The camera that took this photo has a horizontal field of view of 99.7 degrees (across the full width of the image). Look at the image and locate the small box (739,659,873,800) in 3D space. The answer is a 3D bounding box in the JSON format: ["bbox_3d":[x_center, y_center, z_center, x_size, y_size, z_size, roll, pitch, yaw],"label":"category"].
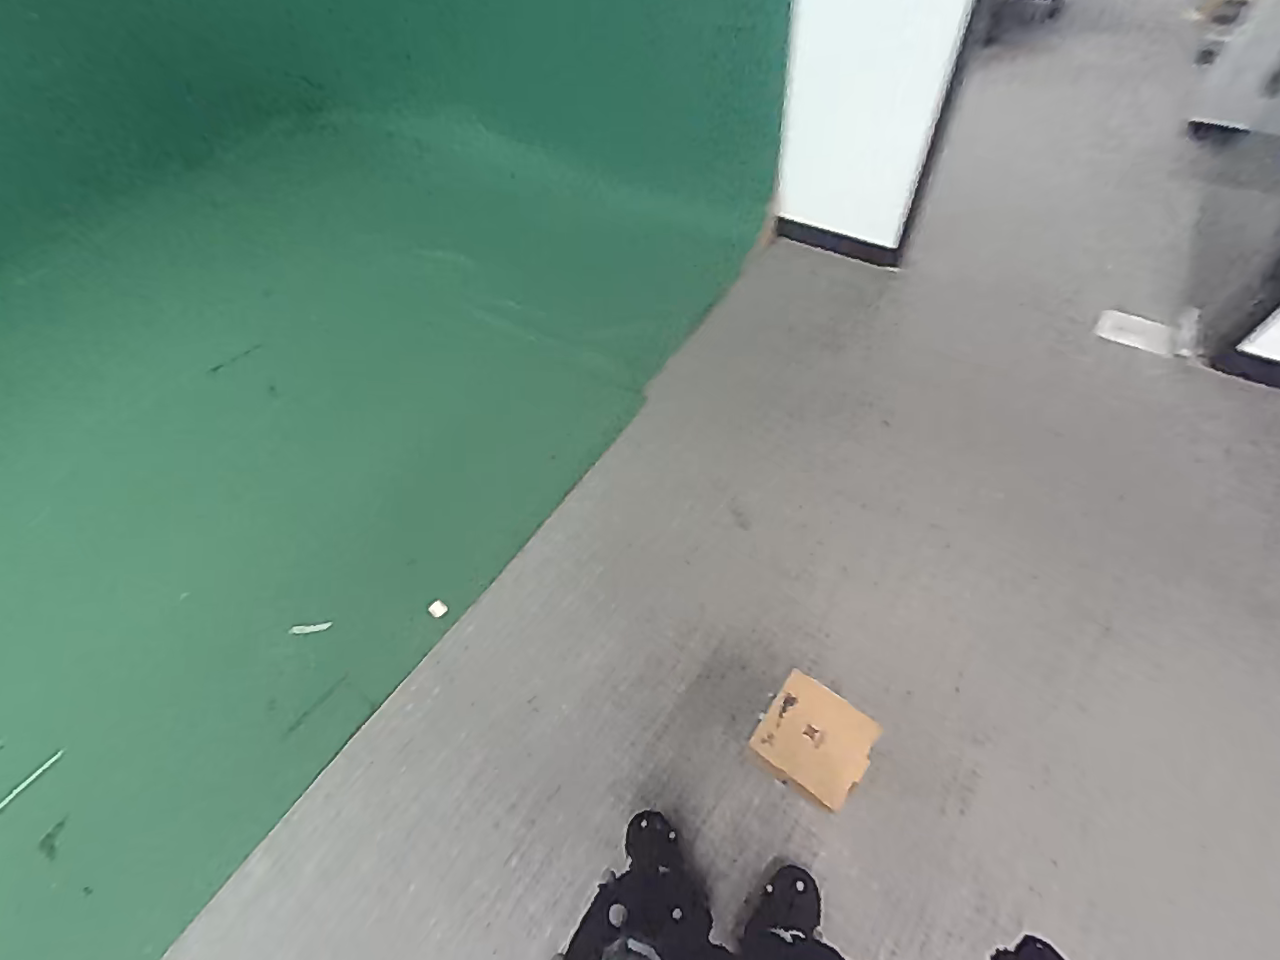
[{"bbox_3d":[0.307,0.475,1.032,0.179,0.176,0.168,33,69,23],"label":"small box"}]
